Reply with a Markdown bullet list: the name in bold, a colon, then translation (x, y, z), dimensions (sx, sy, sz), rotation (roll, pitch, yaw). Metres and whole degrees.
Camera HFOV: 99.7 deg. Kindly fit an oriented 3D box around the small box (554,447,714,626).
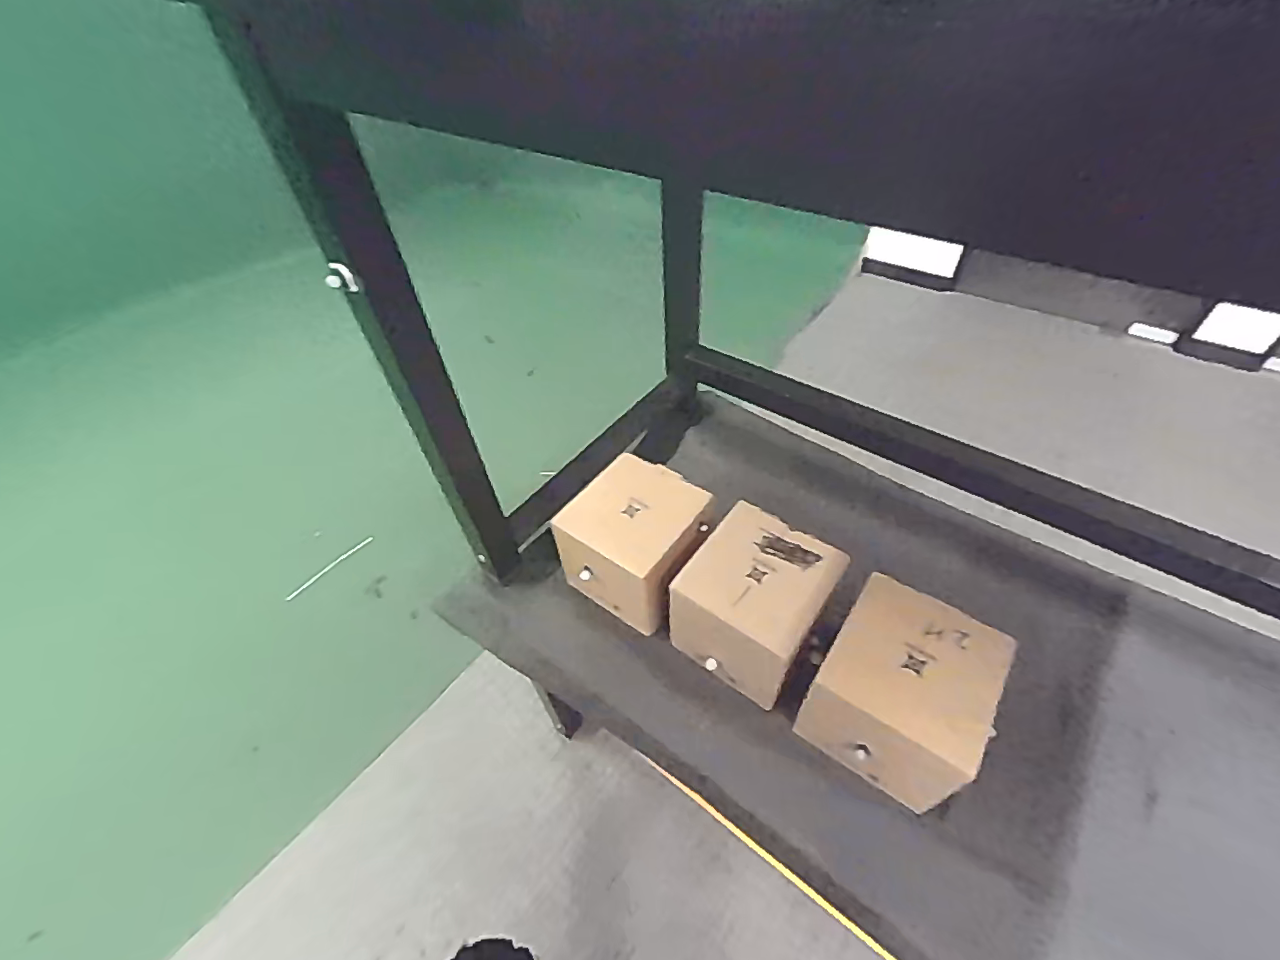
- **small box**: translation (-0.002, 0.088, 0.824), dimensions (0.168, 0.176, 0.179), rotation (28, 55, 26)
